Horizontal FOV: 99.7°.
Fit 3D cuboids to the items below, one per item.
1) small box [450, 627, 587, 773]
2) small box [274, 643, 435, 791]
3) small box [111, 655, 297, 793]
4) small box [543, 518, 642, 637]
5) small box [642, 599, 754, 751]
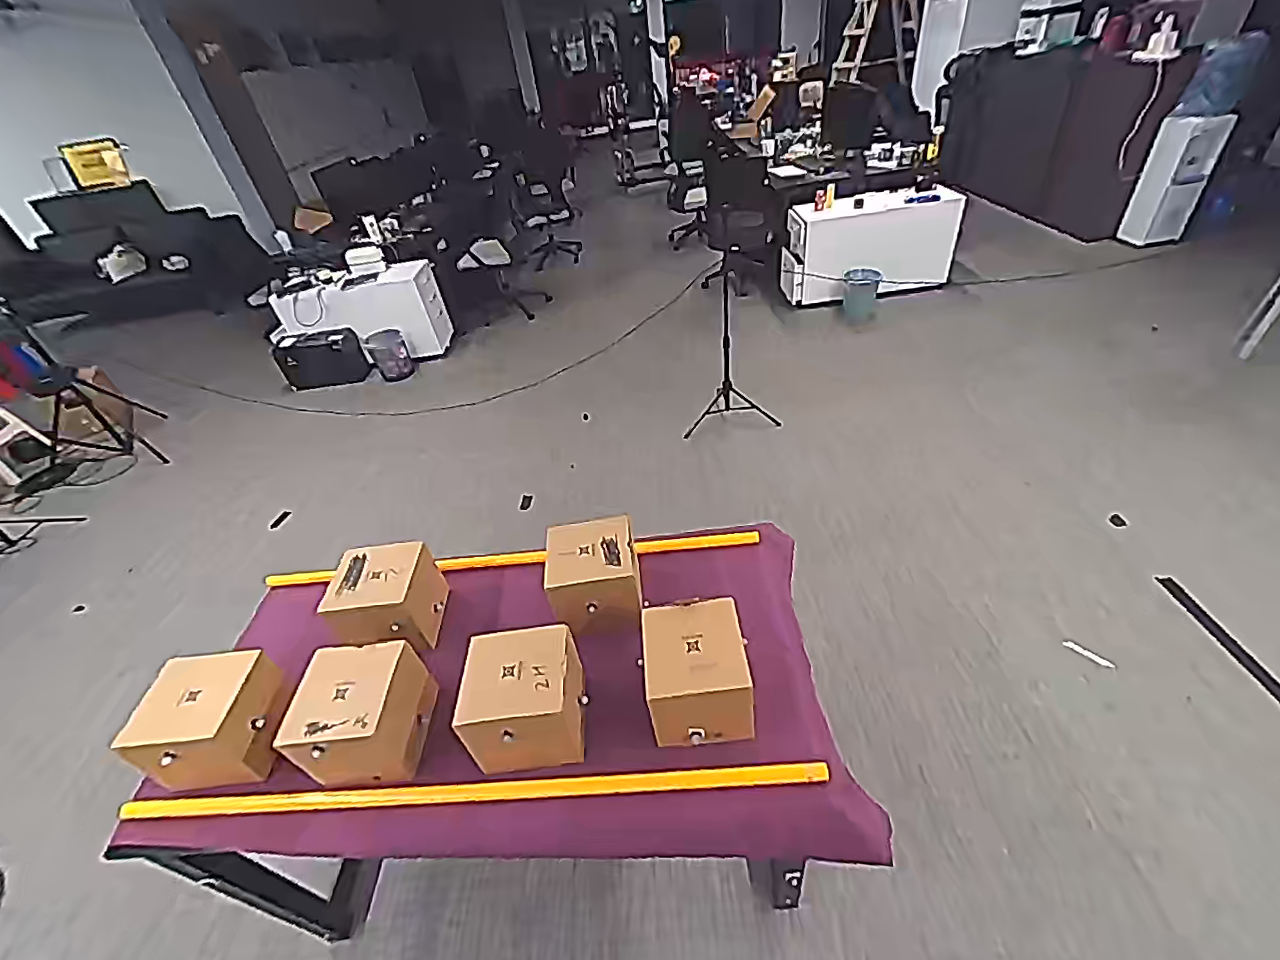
[{"bbox_3d":[-0.197,0.381,0.931,0.179,0.176,0.168,-8,38,3],"label":"small box"},{"bbox_3d":[-0.482,0.415,0.949,0.168,0.176,0.179,-8,39,4],"label":"small box"},{"bbox_3d":[-0.761,0.441,0.976,0.179,0.176,0.168,-7,39,2],"label":"small box"},{"bbox_3d":[-0.093,0.204,1.124,0.179,0.176,0.168,-9,40,2],"label":"small box"},{"bbox_3d":[0.097,0.332,0.928,0.168,0.176,0.179,-9,37,4],"label":"small box"}]
